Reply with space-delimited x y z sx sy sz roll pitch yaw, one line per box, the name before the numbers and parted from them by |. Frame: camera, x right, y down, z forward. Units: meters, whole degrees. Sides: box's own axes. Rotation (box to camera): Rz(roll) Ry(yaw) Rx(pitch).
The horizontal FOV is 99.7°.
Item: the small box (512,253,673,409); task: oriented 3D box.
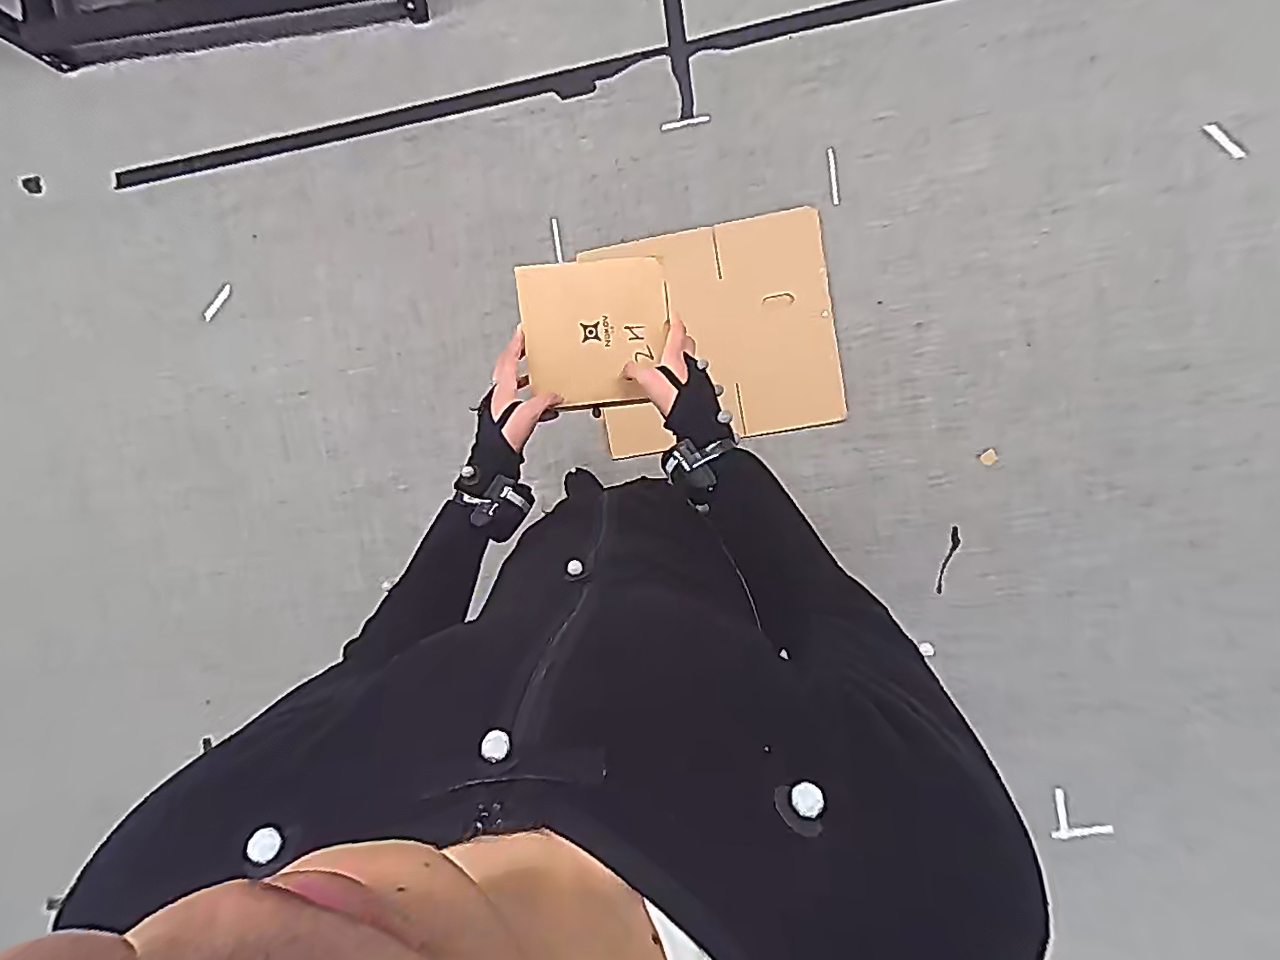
small box | -0.062 -0.184 0.710 0.179 0.176 0.168 -7 97 -7
